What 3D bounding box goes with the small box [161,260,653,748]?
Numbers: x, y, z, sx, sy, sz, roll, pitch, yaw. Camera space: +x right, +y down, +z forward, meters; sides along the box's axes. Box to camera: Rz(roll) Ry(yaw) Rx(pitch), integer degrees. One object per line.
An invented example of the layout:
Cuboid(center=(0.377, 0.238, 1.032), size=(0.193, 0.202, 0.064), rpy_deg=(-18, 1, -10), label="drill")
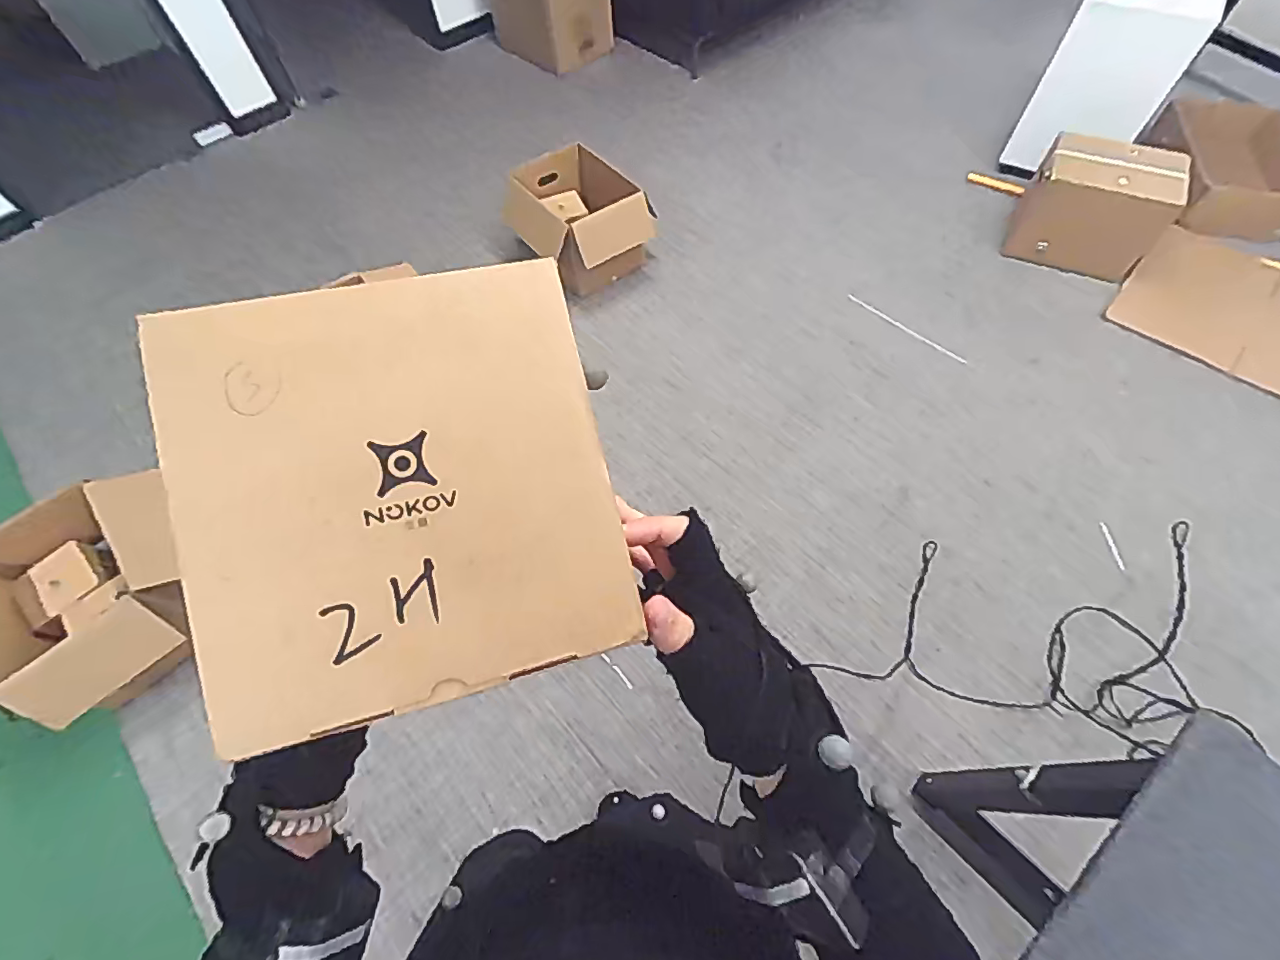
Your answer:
Cuboid(center=(-0.106, 0.009, 0.298), size=(0.168, 0.176, 0.179), rpy_deg=(-12, 86, -12), label="small box")
